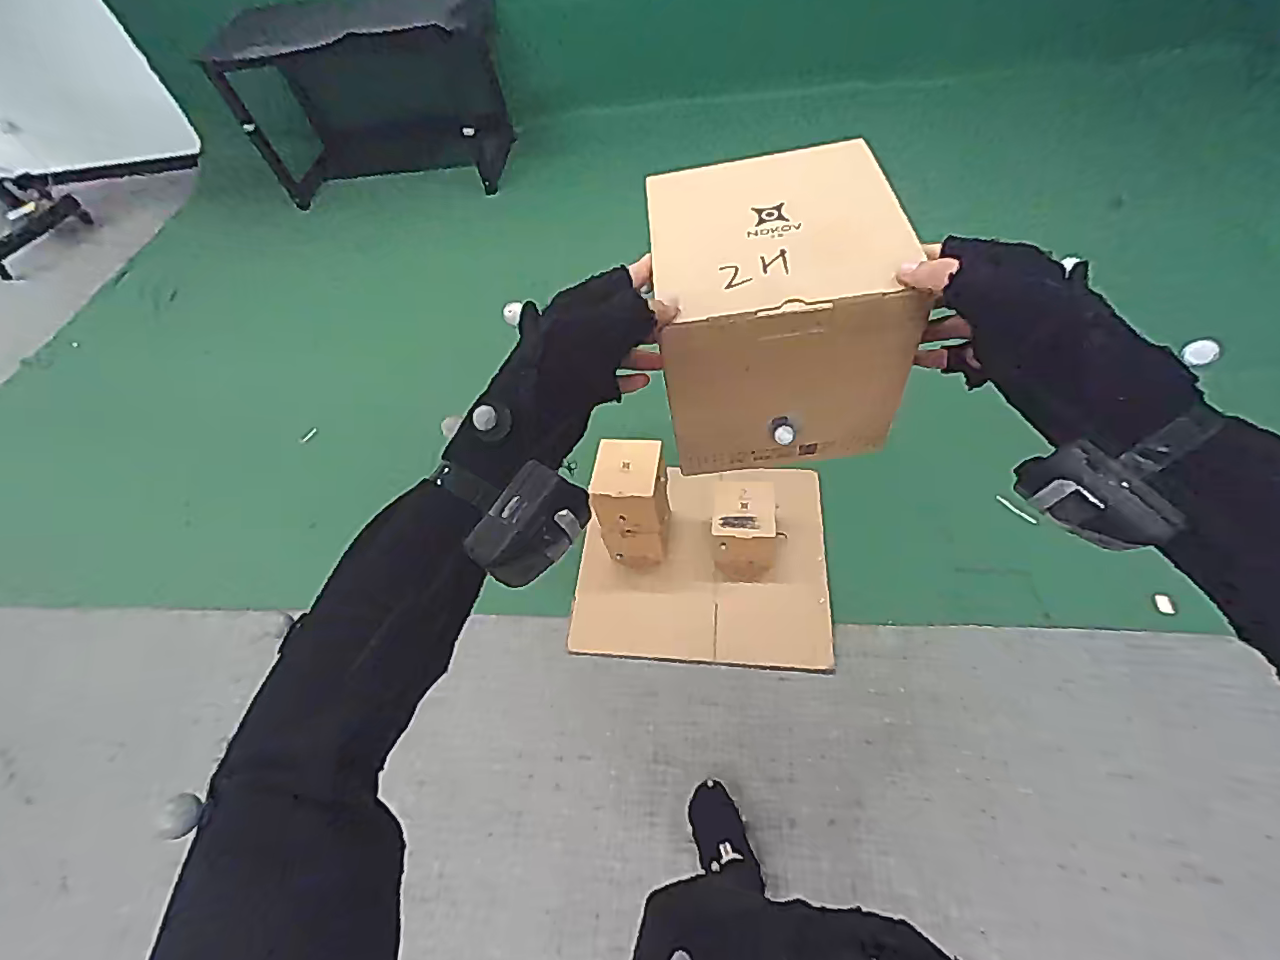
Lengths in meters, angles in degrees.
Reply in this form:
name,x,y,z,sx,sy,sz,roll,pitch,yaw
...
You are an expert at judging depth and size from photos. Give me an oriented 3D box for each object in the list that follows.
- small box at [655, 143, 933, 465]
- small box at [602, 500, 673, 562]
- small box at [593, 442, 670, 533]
name,x,y,z,sx,sy,sz,roll,pitch,yaw
small box,0.103,-0.134,0.438,0.168,0.176,0.179,-6,56,7
small box,0.000,0.122,1.555,0.168,0.176,0.179,2,55,11
small box,-0.016,0.020,1.429,0.168,0.176,0.179,3,56,11
